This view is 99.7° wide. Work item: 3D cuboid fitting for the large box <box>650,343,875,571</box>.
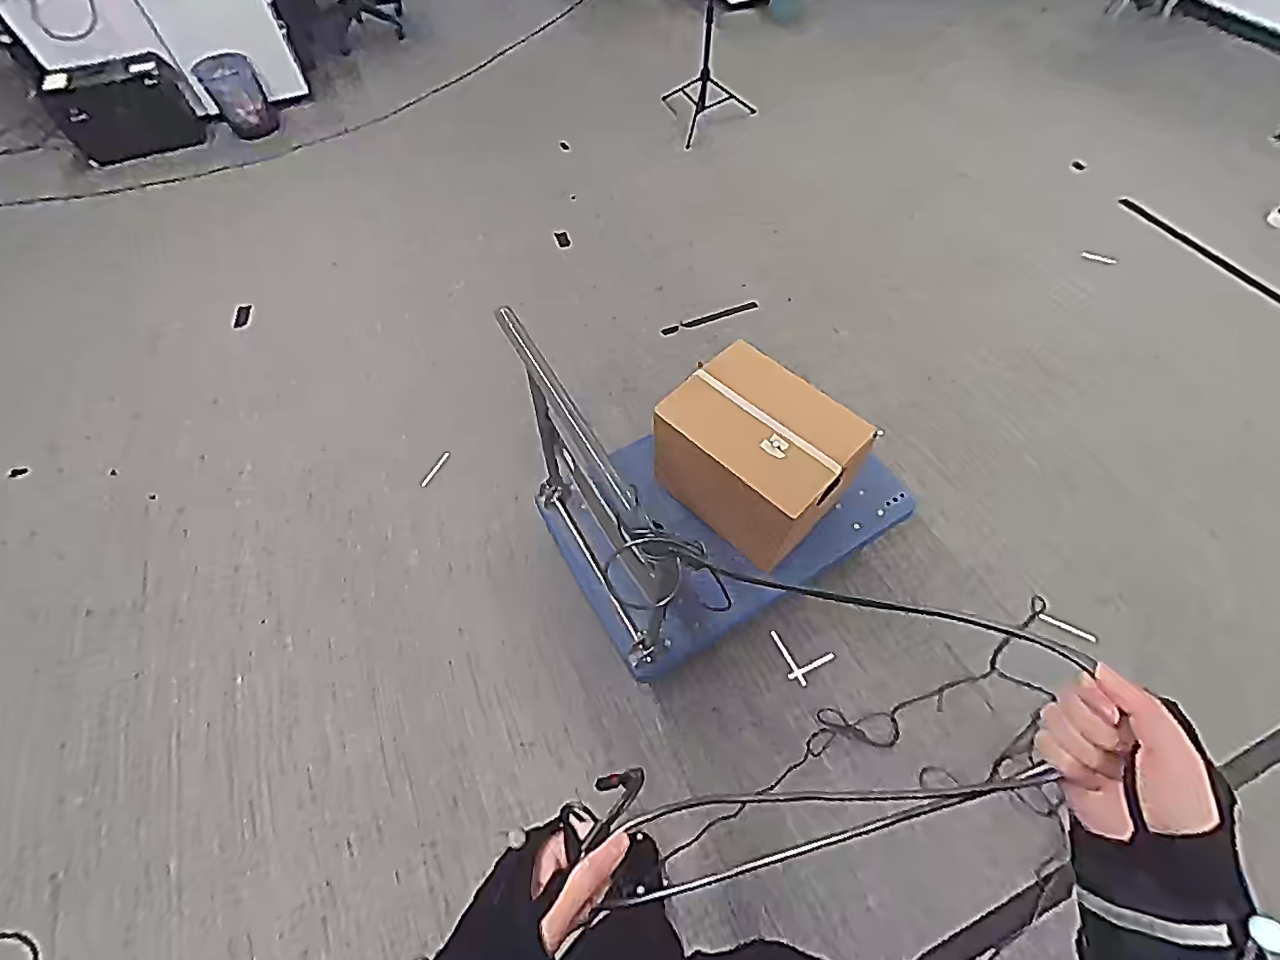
[{"bbox_3d":[0.270,-0.054,1.331,0.408,0.320,0.320,41,69,21],"label":"large box"}]
